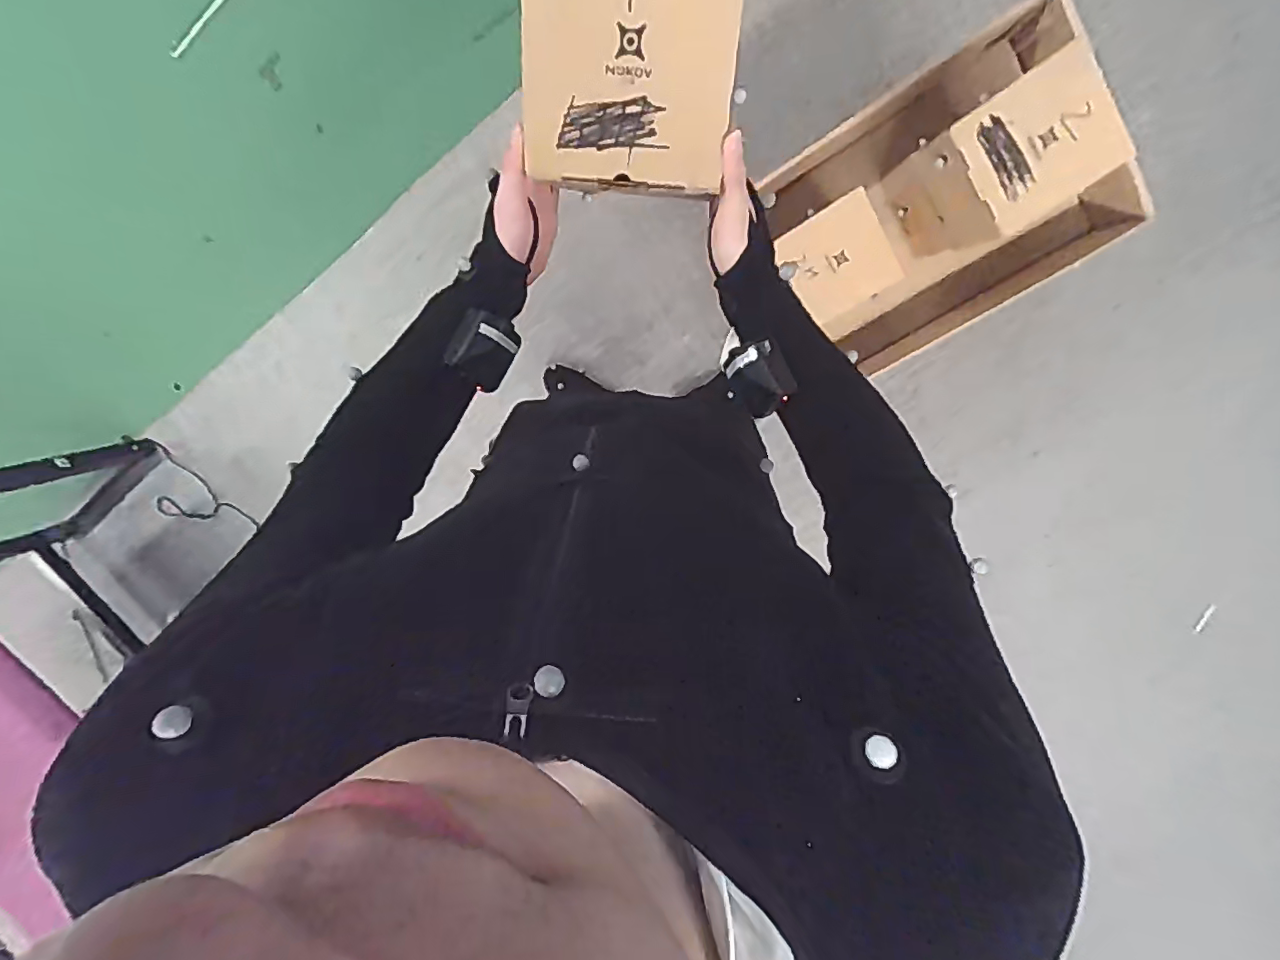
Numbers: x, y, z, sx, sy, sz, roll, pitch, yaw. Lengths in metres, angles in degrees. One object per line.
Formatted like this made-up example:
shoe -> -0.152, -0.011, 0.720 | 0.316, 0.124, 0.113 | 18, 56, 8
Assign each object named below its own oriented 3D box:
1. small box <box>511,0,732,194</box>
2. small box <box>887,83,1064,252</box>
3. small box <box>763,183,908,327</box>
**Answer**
small box -> -0.010, -0.359, 0.482 | 0.168, 0.176, 0.179 | 5, 115, 2
small box -> 0.558, -0.517, 0.924 | 0.179, 0.176, 0.168 | -30, 100, 16
small box -> 0.342, -0.395, 0.980 | 0.179, 0.176, 0.168 | -29, 100, 13
